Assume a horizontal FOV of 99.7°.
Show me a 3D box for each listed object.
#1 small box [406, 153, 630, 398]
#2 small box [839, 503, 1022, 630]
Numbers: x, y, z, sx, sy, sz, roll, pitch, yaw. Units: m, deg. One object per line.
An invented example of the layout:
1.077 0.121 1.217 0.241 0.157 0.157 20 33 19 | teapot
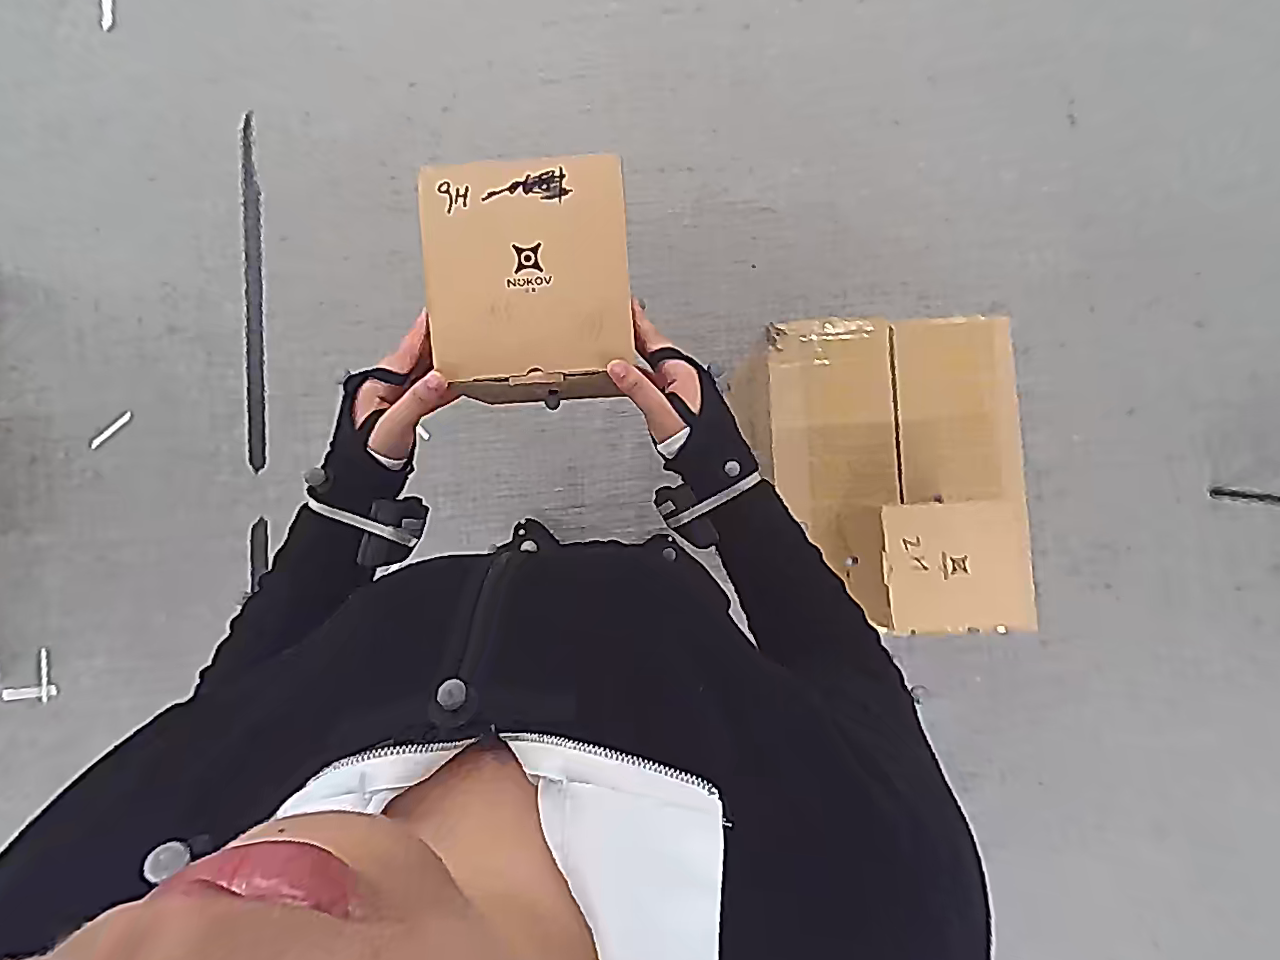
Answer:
-0.099 -0.173 0.516 0.168 0.176 0.179 -5 93 0 | small box
0.411 0.119 0.792 0.179 0.176 0.168 -3 85 2 | small box
